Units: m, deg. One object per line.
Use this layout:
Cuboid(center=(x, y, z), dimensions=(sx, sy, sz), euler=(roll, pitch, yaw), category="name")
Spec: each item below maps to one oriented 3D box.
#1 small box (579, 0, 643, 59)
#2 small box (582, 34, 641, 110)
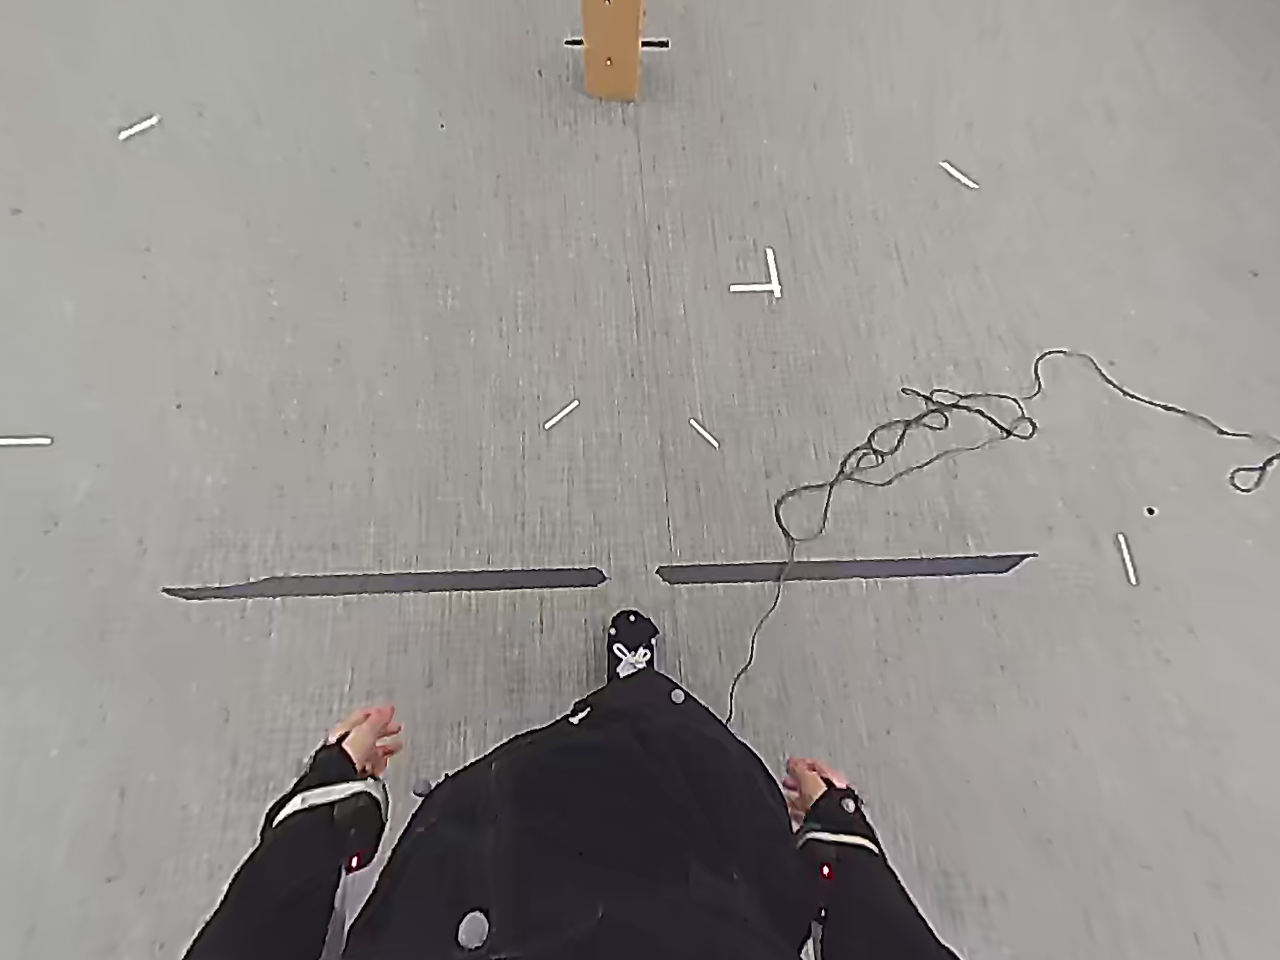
Cuboid(center=(-0.085, -1.409, 1.617), dimensions=(0.179, 0.176, 0.168), euler=(8, 74, -1), category="small box")
Cuboid(center=(-0.095, -1.355, 1.772), dimensions=(0.179, 0.176, 0.168), euler=(5, 74, -3), category="small box")
